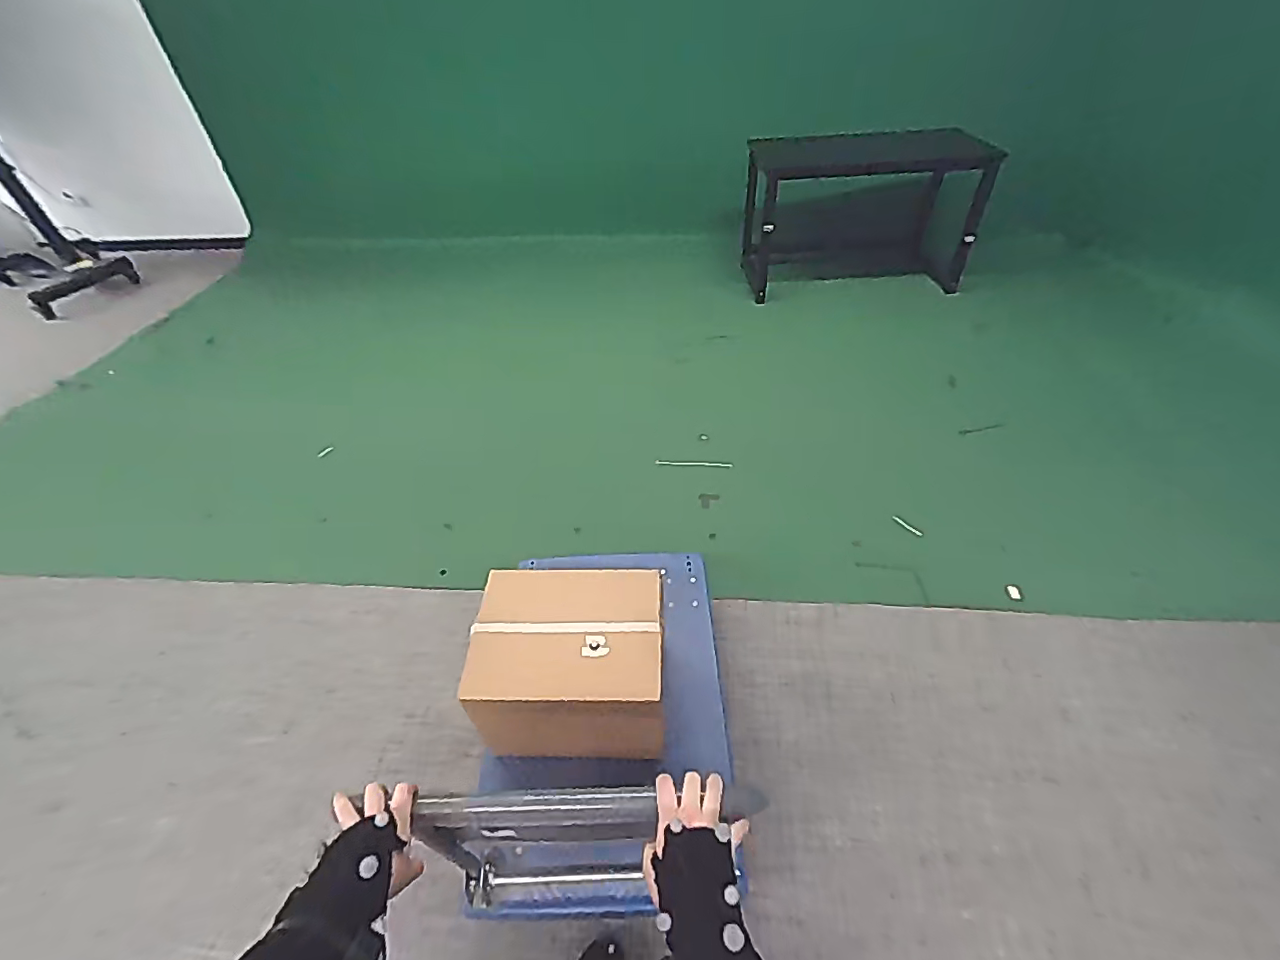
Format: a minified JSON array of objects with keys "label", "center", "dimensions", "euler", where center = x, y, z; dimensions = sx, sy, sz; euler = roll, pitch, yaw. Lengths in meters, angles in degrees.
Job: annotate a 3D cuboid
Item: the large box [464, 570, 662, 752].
[{"label":"large box","center":[-0.153,0.429,1.284],"dimensions":[0.408,0.320,0.320],"euler":[0,44,2]}]
